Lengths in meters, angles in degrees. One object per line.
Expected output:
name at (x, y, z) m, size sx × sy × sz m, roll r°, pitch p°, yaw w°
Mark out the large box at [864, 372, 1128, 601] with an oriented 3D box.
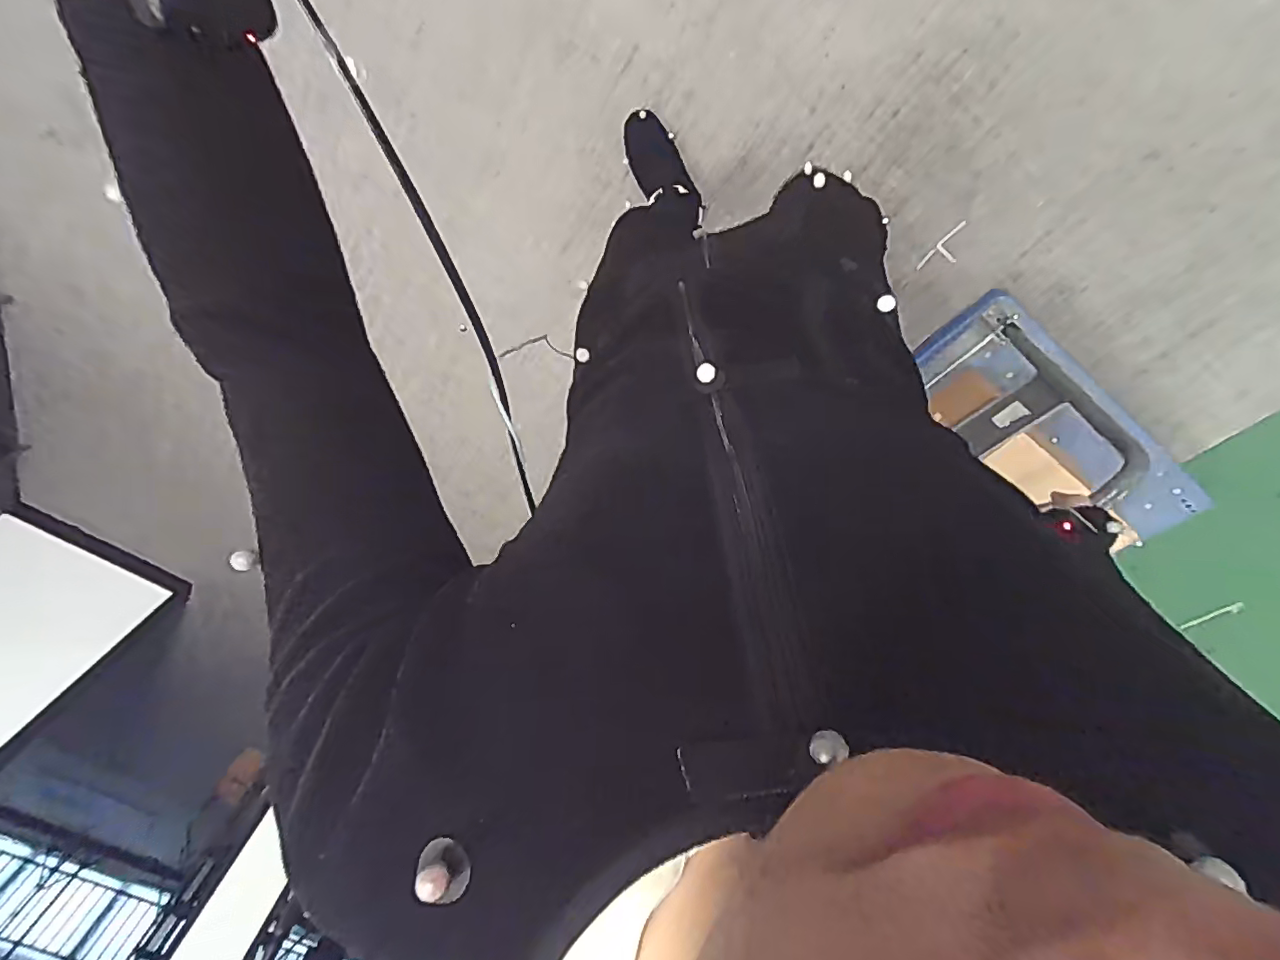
large box at (0.827, 0.014, 1.316) m, size 0.408 × 0.320 × 0.320 m, roll 34°, pitch 125°, yaw -14°
